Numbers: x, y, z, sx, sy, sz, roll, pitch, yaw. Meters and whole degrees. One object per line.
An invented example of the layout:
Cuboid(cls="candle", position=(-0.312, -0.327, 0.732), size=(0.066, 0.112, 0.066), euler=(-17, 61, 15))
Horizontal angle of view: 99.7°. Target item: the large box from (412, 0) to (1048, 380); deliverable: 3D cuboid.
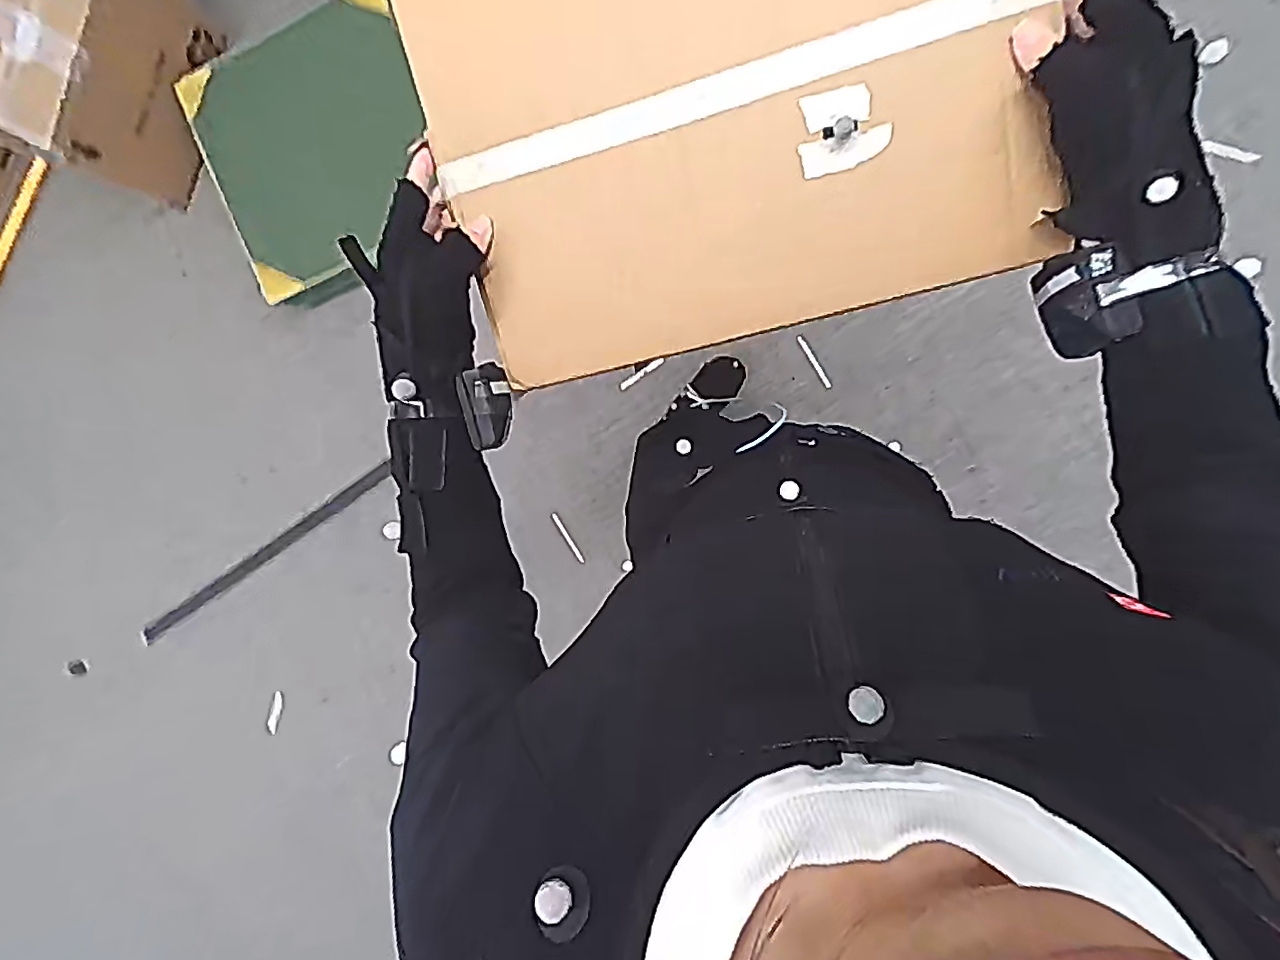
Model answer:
Cuboid(cls="large box", position=(0.073, -0.301, 0.520), size=(0.408, 0.320, 0.320), euler=(-12, 104, 9))
